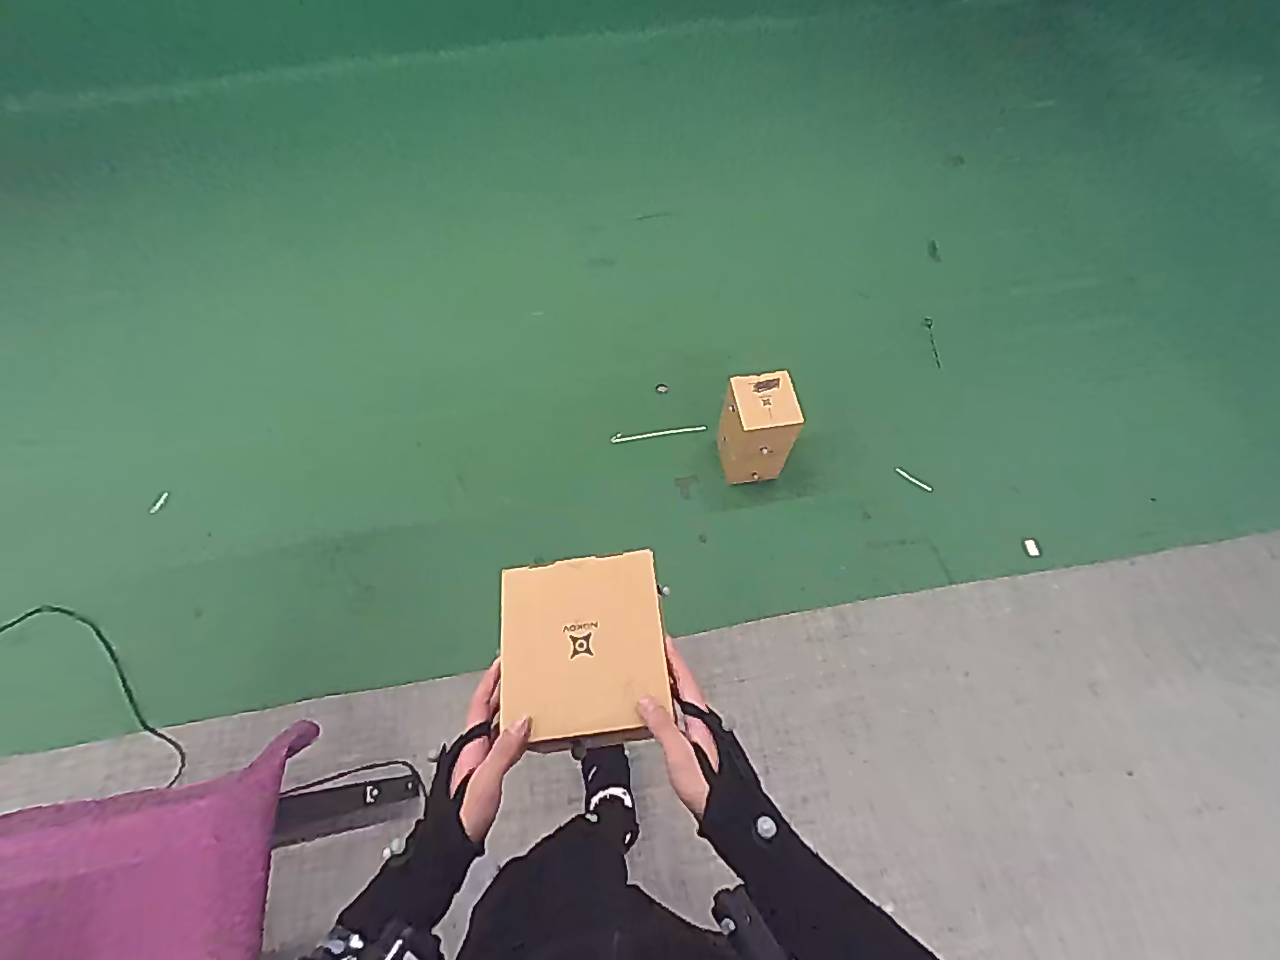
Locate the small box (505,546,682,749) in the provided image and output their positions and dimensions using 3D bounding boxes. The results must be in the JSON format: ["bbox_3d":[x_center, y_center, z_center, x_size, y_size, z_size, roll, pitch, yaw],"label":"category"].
[{"bbox_3d":[-0.046,0.195,0.606,0.168,0.176,0.179,-8,58,0],"label":"small box"}]

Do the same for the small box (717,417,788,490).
[{"bbox_3d":[0.341,-0.089,1.680,0.168,0.176,0.179,-7,64,-3],"label":"small box"}]

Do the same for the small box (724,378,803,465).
[{"bbox_3d":[0.342,-0.163,1.534,0.168,0.176,0.179,-8,64,-3],"label":"small box"}]
